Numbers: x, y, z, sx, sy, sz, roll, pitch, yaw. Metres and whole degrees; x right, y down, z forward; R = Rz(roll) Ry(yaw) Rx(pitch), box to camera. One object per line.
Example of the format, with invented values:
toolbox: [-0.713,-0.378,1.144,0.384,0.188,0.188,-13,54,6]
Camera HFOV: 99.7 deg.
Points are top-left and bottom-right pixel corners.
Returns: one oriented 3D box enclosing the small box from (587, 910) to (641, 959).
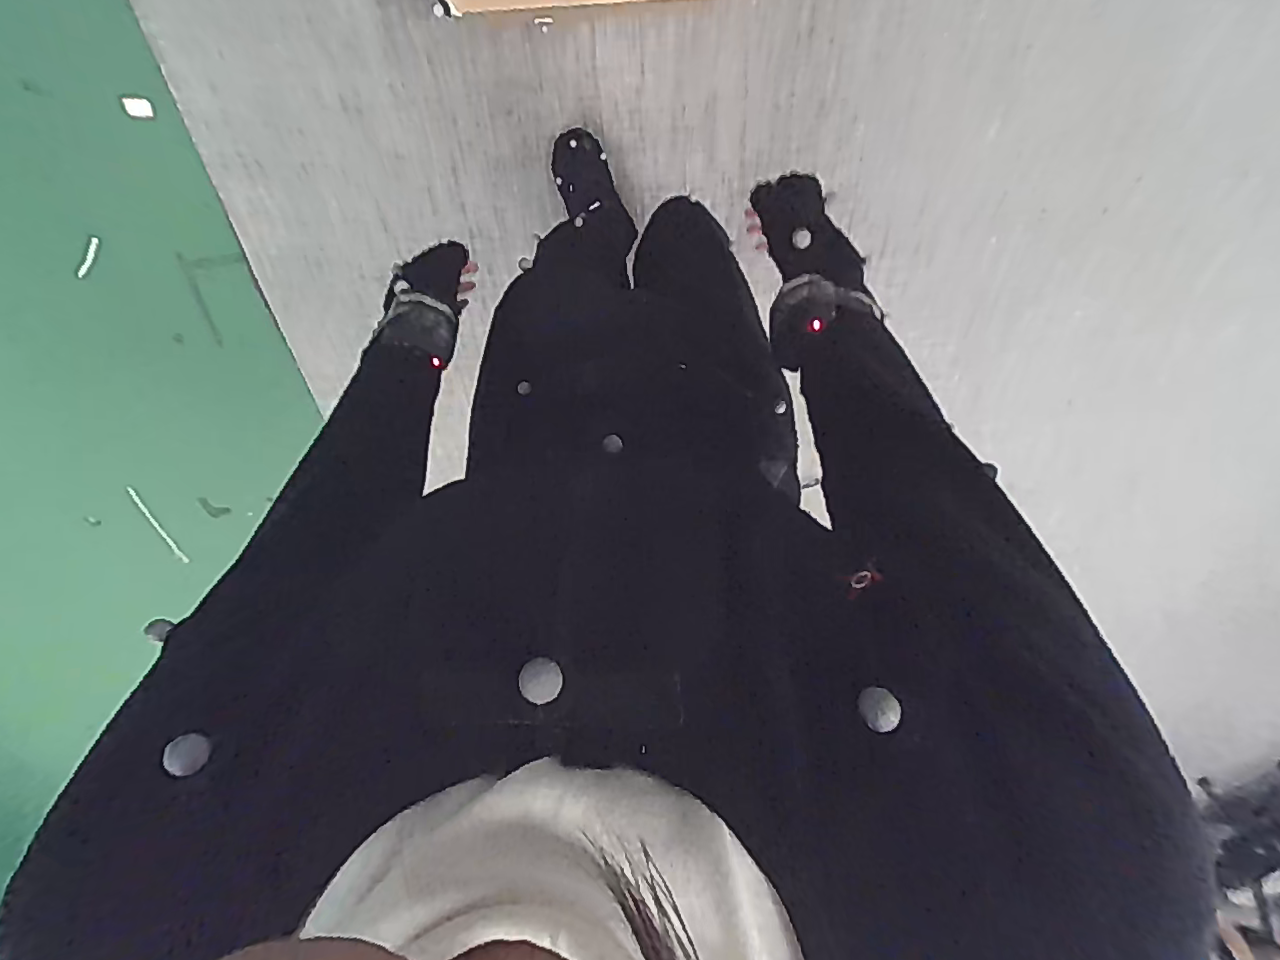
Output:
small box: [-0.087,1.604,1.861,0.179,0.176,0.168,-3,128,2]
